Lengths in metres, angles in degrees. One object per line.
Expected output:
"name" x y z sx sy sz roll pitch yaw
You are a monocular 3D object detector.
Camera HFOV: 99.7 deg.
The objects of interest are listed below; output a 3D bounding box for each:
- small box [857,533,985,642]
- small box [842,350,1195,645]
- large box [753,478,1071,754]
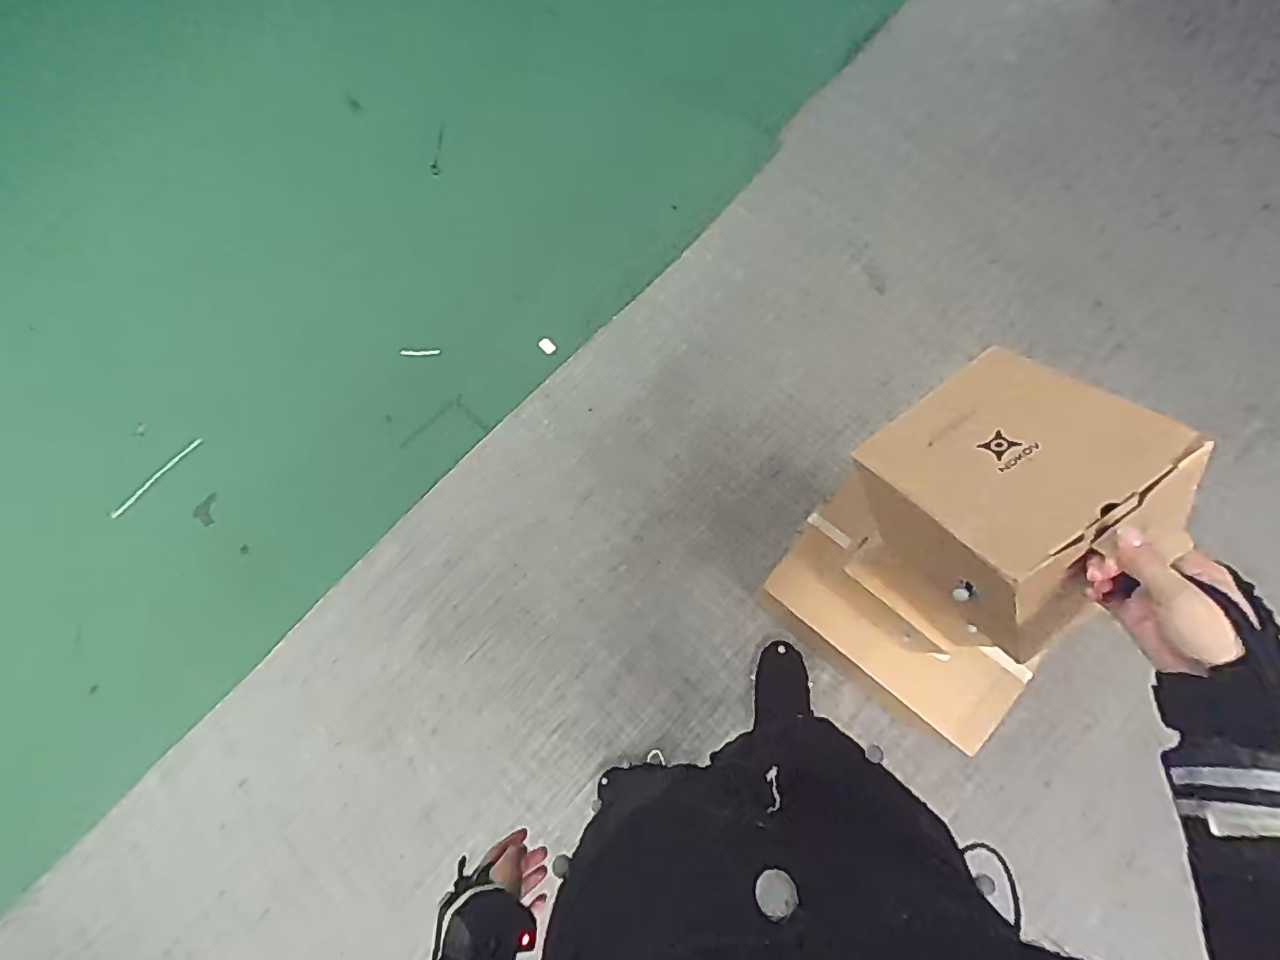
"small box" 0.405 0.088 0.678 0.168 0.176 0.179 -44 74 -7
"small box" 0.321 0.023 0.484 0.168 0.176 0.179 -38 41 3
"large box" 0.480 0.238 1.051 0.408 0.320 0.320 39 83 16
